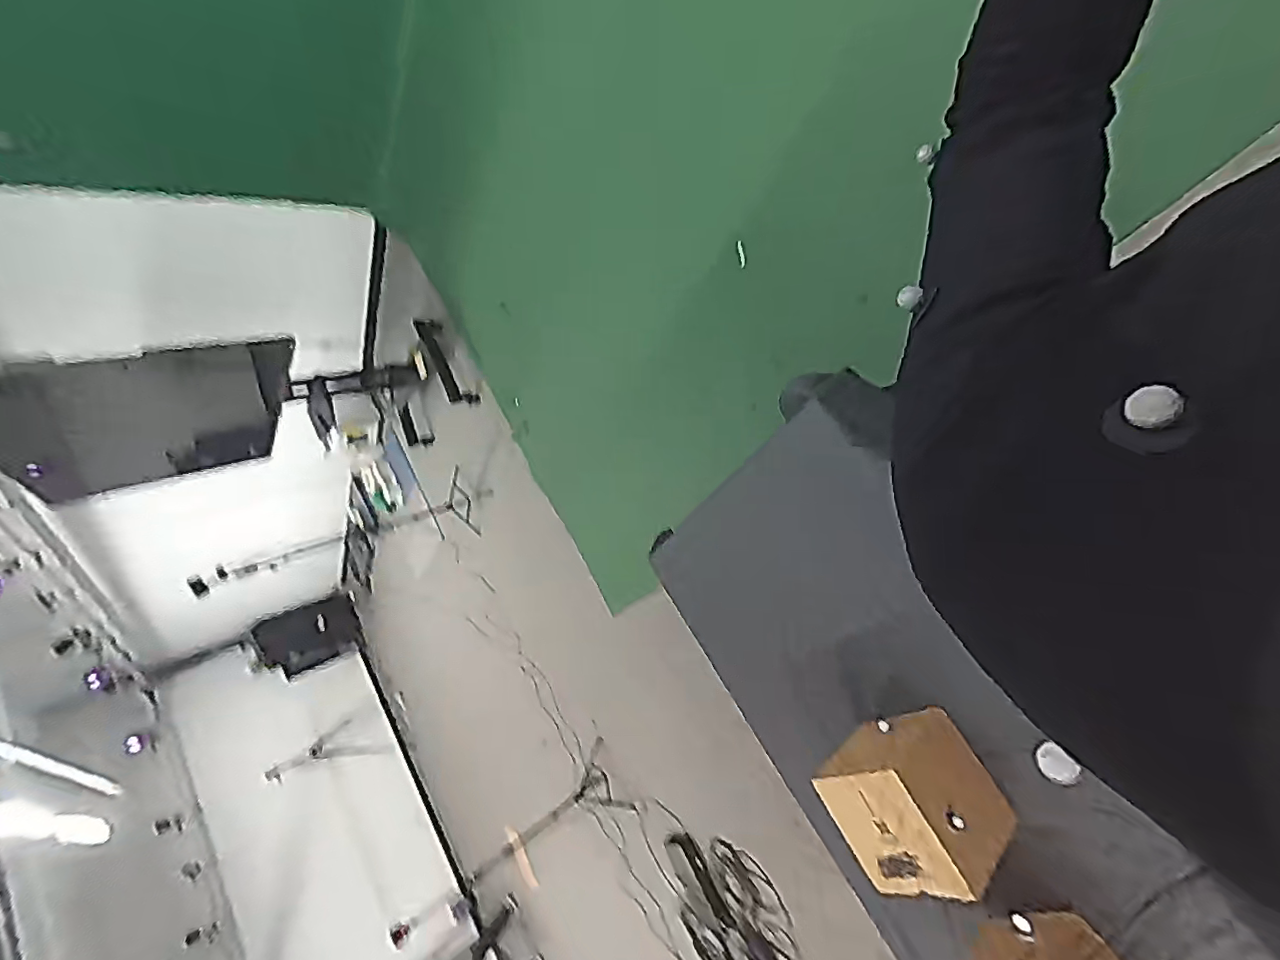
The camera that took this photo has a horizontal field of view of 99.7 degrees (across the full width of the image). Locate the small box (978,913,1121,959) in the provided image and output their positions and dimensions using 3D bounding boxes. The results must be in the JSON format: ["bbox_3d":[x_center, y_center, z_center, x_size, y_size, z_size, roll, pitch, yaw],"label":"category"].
[{"bbox_3d":[0.583,0.742,0.729,0.179,0.176,0.168,51,136,24],"label":"small box"}]

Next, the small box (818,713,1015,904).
[{"bbox_3d":[0.417,0.487,0.817,0.179,0.176,0.168,59,140,16],"label":"small box"}]
